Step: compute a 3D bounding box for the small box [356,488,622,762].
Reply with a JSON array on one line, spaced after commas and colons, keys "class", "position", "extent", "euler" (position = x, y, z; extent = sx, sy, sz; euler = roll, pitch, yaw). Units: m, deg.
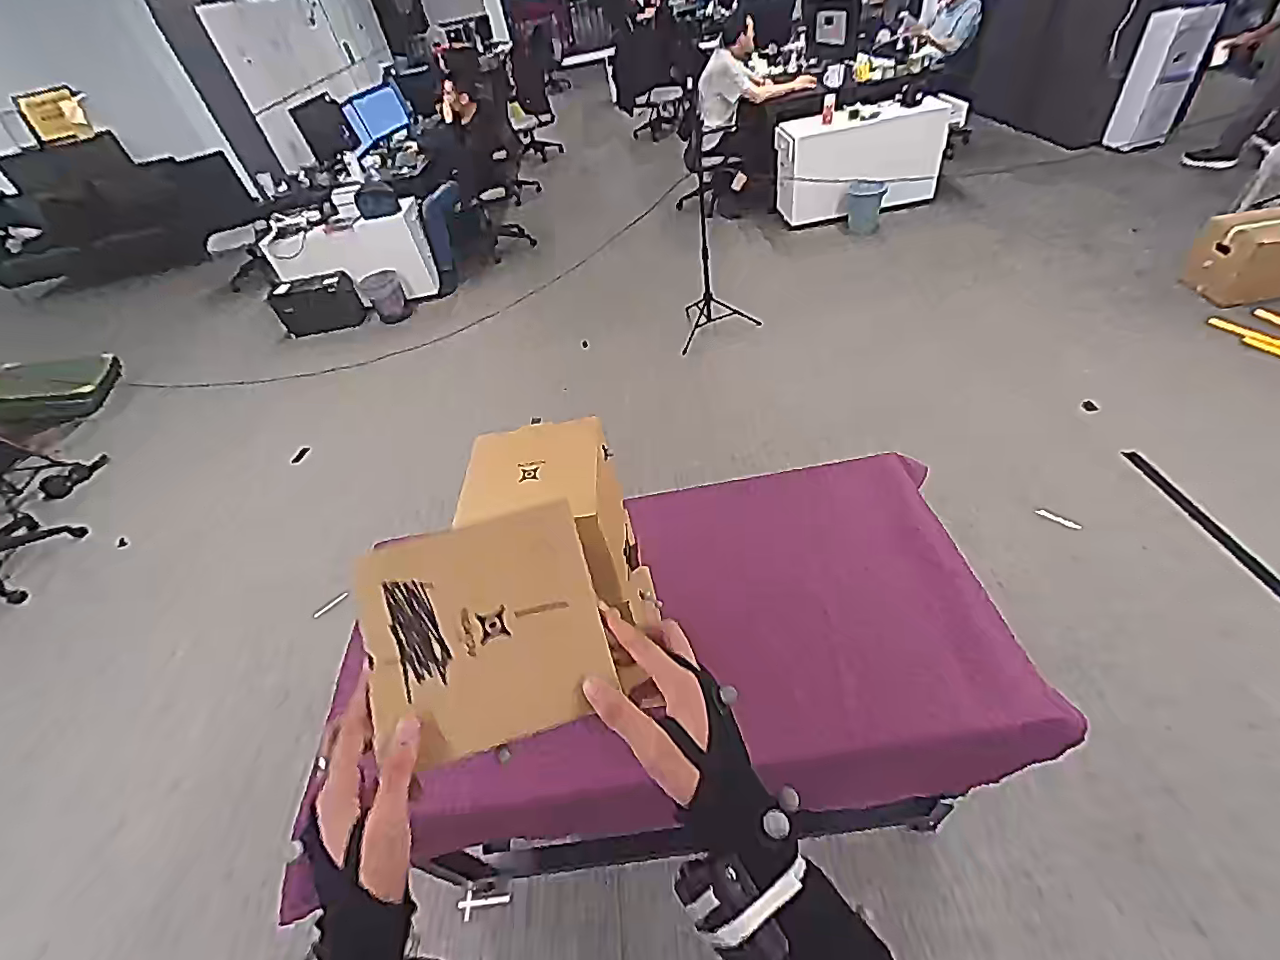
[{"class": "small box", "position": [-0.119, 0.130, 0.478], "extent": [0.179, 0.176, 0.168], "euler": [-15, 69, -8]}]

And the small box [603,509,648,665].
[{"class": "small box", "position": [-0.089, 0.167, 0.805], "extent": [0.179, 0.176, 0.168], "euler": [-8, 44, 5]}]

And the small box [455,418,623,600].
[{"class": "small box", "position": [-0.116, 0.048, 0.698], "extent": [0.168, 0.176, 0.179], "euler": [-8, 43, 5]}]
